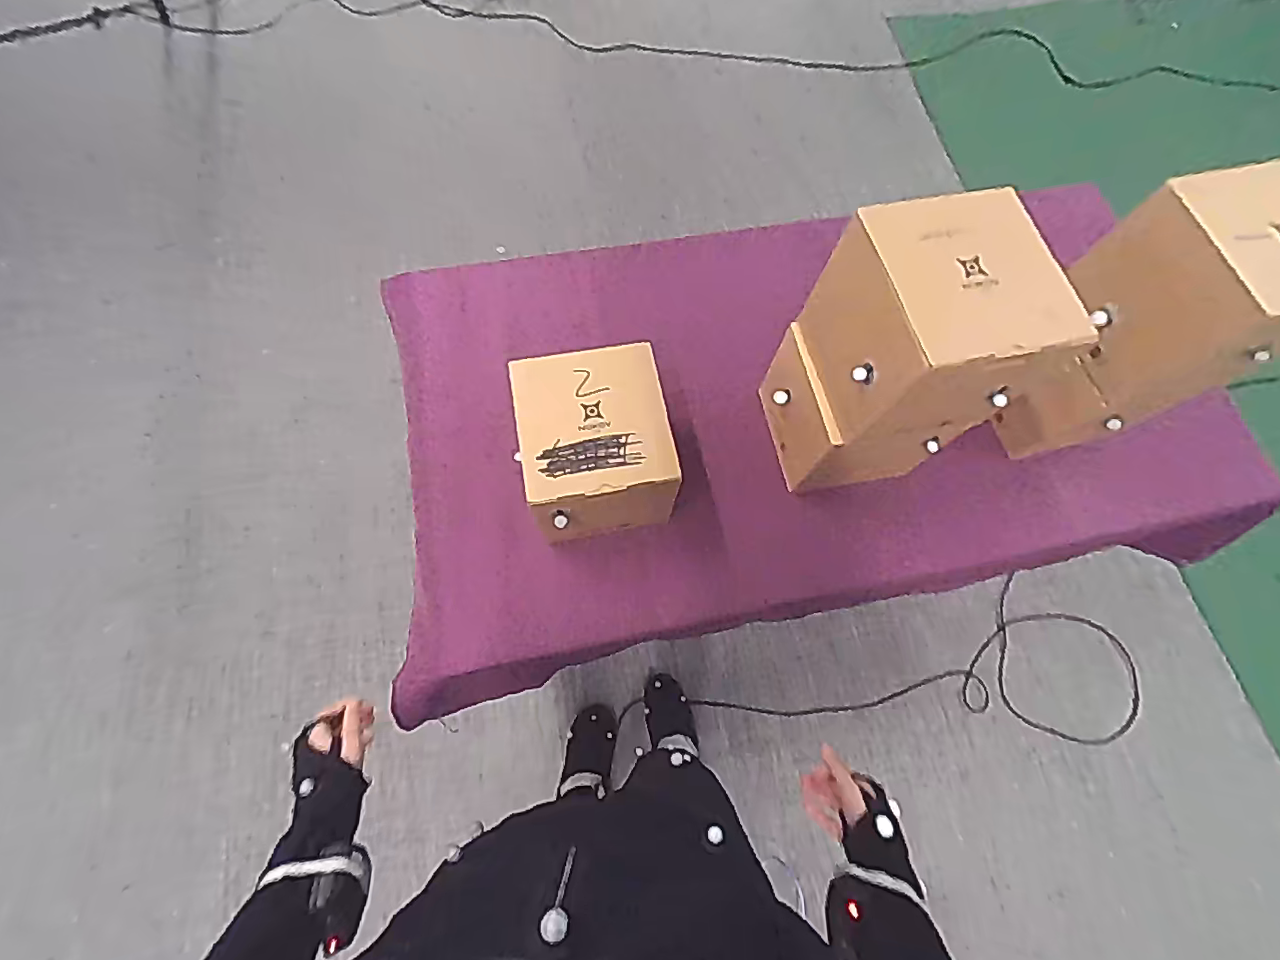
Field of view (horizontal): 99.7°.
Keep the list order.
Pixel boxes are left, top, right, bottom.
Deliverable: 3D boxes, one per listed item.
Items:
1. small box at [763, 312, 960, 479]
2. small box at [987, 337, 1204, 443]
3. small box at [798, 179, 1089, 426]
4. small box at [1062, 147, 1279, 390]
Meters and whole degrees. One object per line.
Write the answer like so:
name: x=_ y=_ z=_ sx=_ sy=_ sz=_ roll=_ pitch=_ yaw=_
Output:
small box: x=0.273 y=-0.112 z=0.710 sx=0.179 sy=0.176 sz=0.168 roll=-10 pitch=71 yaw=-6
small box: x=0.595 y=-0.166 z=0.739 sx=0.179 sy=0.176 sz=0.168 roll=-13 pitch=71 yaw=-6
small box: x=0.287 y=-0.168 z=0.558 sx=0.168 sy=0.176 sz=0.179 roll=-11 pitch=70 yaw=-8
small box: x=0.601 y=-0.219 z=0.583 sx=0.179 sy=0.176 sz=0.168 roll=-12 pitch=71 yaw=-6
